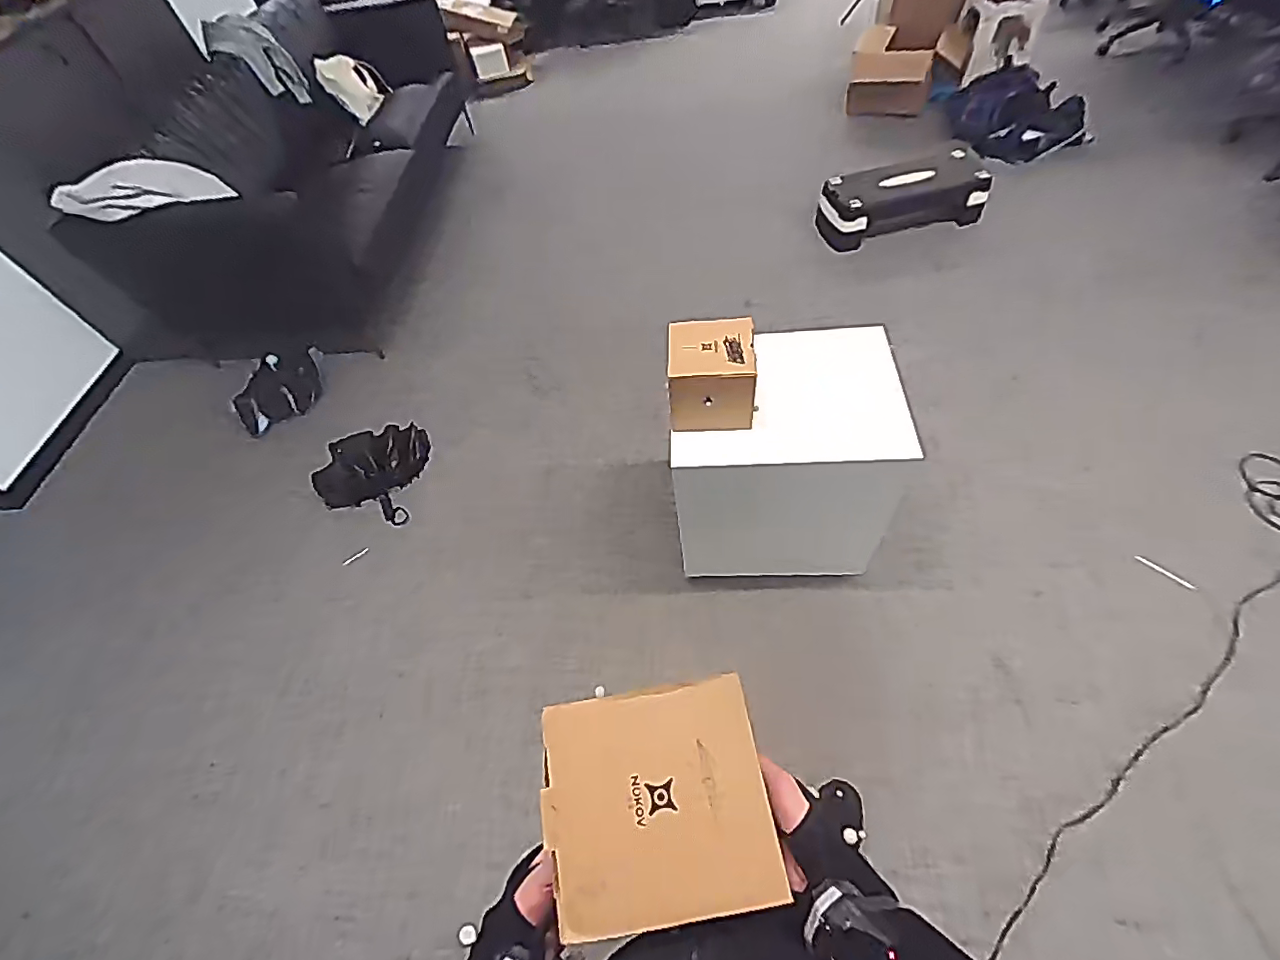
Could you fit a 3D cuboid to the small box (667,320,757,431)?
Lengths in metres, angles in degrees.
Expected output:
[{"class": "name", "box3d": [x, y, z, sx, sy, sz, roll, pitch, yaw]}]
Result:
[{"class": "small box", "box3d": [0.152, -0.219, 1.159, 0.179, 0.176, 0.168, -1, 55, 7]}]
